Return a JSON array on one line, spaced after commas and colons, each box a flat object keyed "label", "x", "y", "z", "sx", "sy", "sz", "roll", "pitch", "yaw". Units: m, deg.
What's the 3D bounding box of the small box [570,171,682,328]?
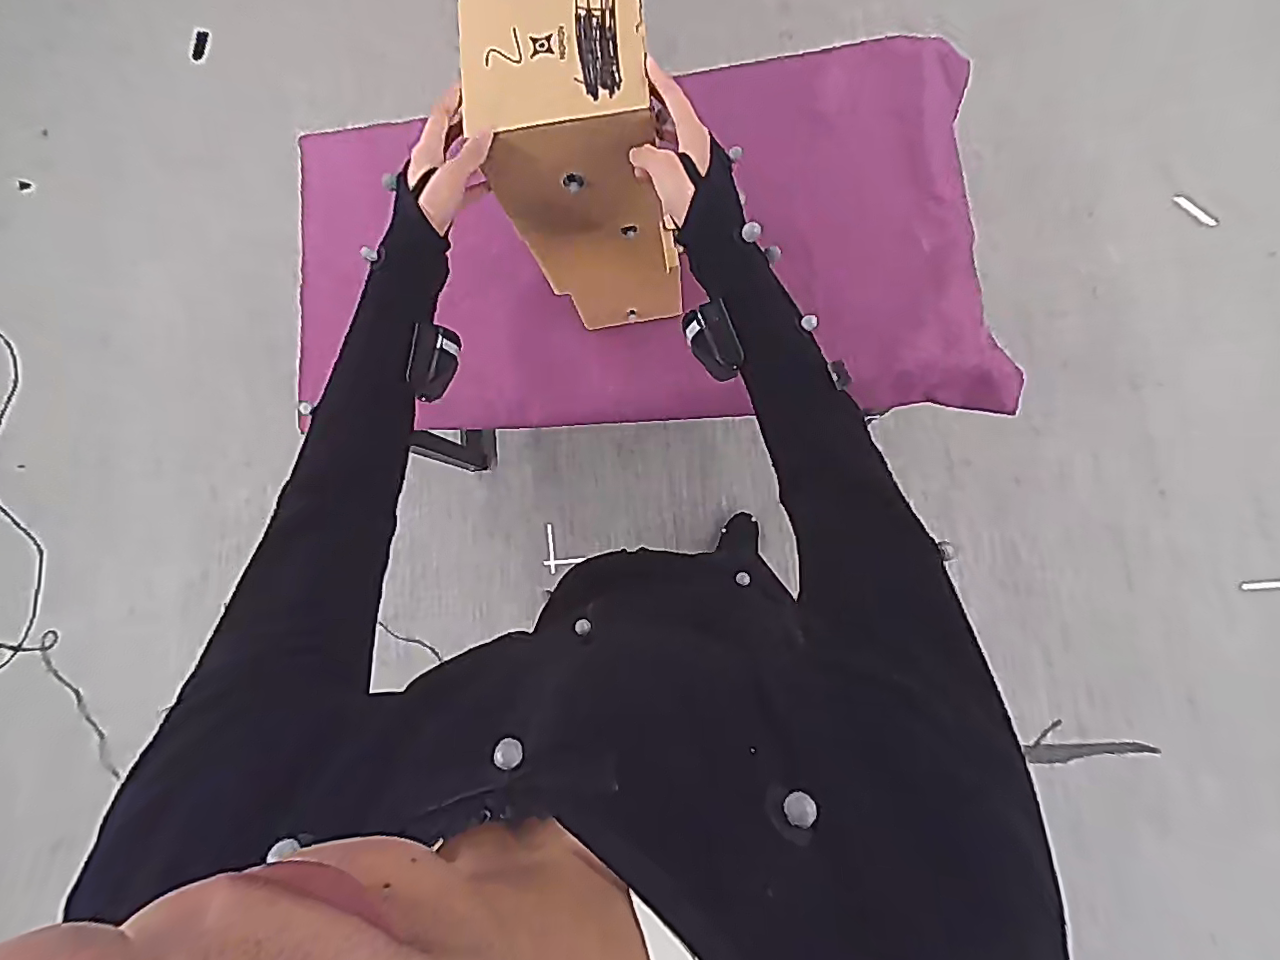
[{"label": "small box", "x": -0.027, "y": -0.371, "z": 0.897, "sx": 0.179, "sy": 0.176, "sz": 0.168, "roll": -8, "pitch": 81, "yaw": 4}]

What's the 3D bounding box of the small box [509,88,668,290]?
[{"label": "small box", "x": -0.062, "y": -0.379, "z": 0.736, "sx": 0.179, "sy": 0.176, "sz": 0.168, "roll": -8, "pitch": 82, "yaw": 5}]
